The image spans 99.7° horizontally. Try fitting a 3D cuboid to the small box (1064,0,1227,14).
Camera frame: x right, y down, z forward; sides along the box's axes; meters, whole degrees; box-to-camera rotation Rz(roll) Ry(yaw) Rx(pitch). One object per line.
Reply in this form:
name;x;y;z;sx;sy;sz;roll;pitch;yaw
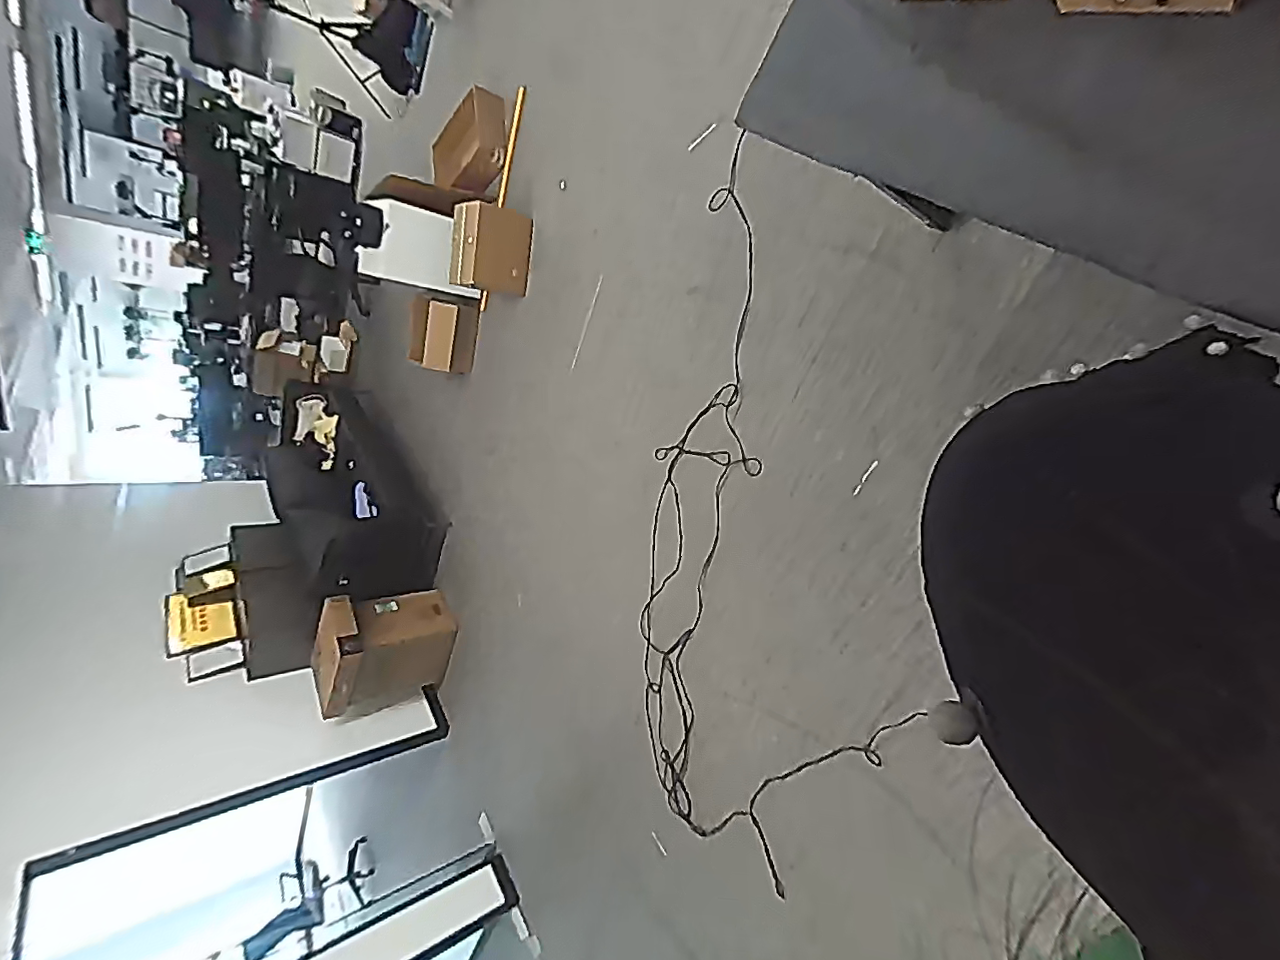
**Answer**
small box;0.502;-0.577;0.492;0.168;0.176;0.179;44;122;38
